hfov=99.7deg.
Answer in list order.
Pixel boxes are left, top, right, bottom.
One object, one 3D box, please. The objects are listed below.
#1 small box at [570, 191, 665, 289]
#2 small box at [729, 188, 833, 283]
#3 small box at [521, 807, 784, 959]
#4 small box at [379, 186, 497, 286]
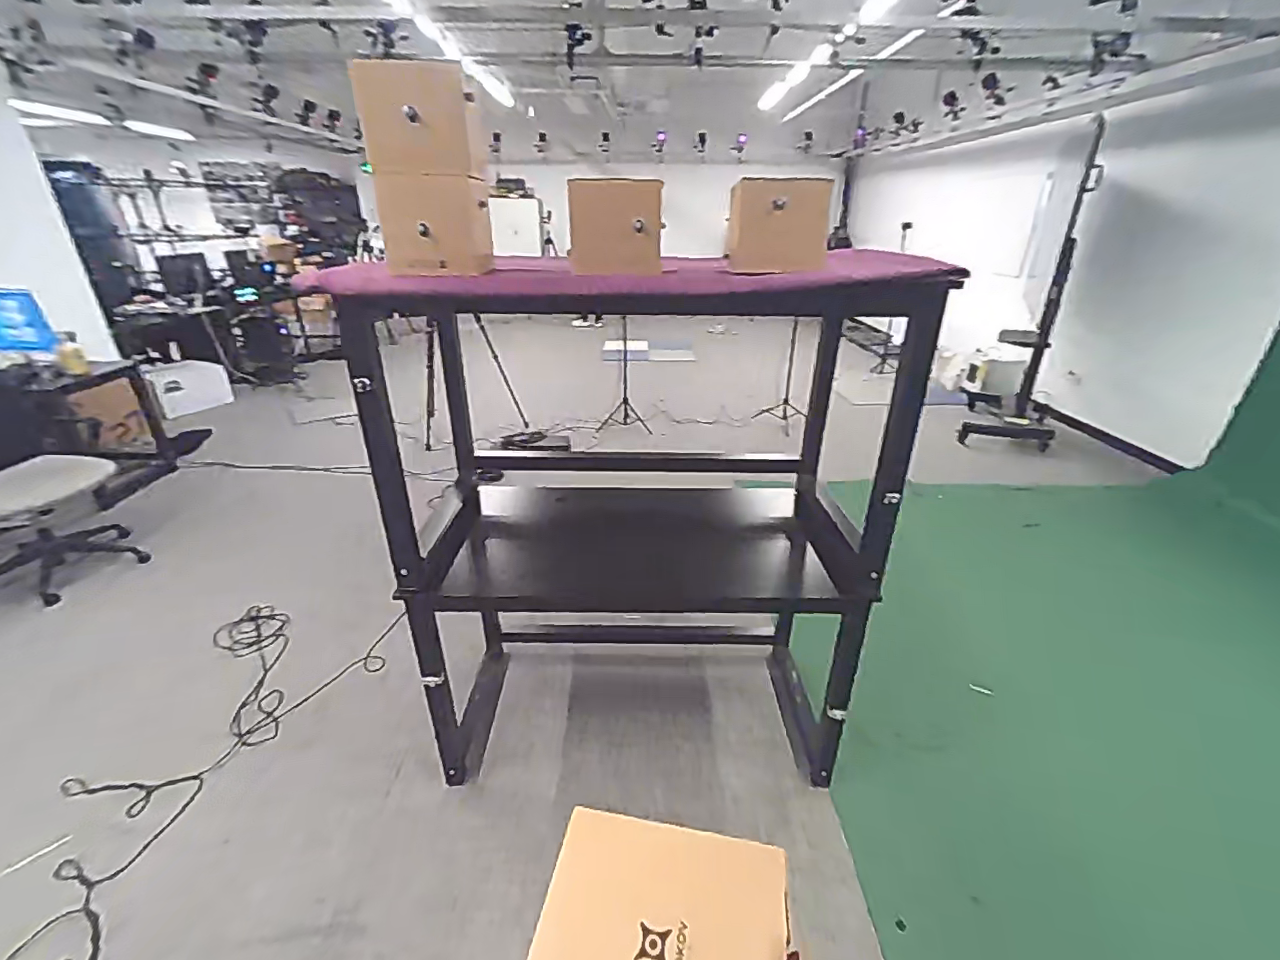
[{"bbox_3d":[-0.042,-0.485,1.093,0.179,0.176,0.168,-1,24,-1],"label":"small box"},{"bbox_3d":[0.281,-0.498,1.118,0.179,0.176,0.168,1,23,1],"label":"small box"},{"bbox_3d":[0.012,0.389,0.405,0.179,0.176,0.168,5,26,10],"label":"small box"},{"bbox_3d":[-0.383,-0.477,1.061,0.168,0.176,0.179,0,25,-3],"label":"small box"}]
